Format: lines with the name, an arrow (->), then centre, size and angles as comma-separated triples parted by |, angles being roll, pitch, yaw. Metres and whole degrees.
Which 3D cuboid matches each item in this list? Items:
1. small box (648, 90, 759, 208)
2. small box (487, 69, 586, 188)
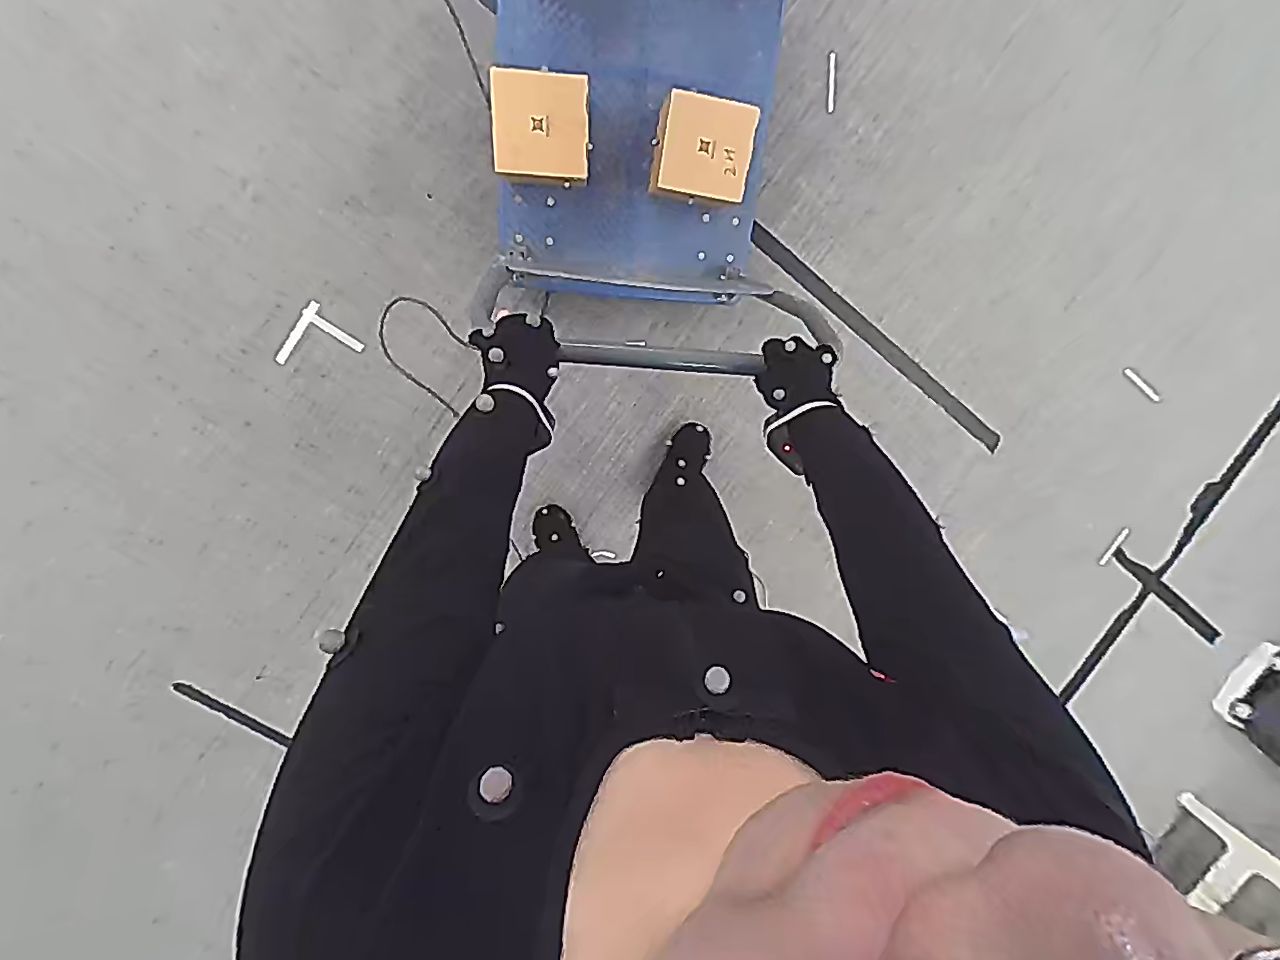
small box -> 0.118, -0.664, 1.106 | 0.179, 0.176, 0.168 | 6, 112, -9
small box -> -0.196, -0.678, 1.063 | 0.179, 0.176, 0.168 | -1, 113, -8
